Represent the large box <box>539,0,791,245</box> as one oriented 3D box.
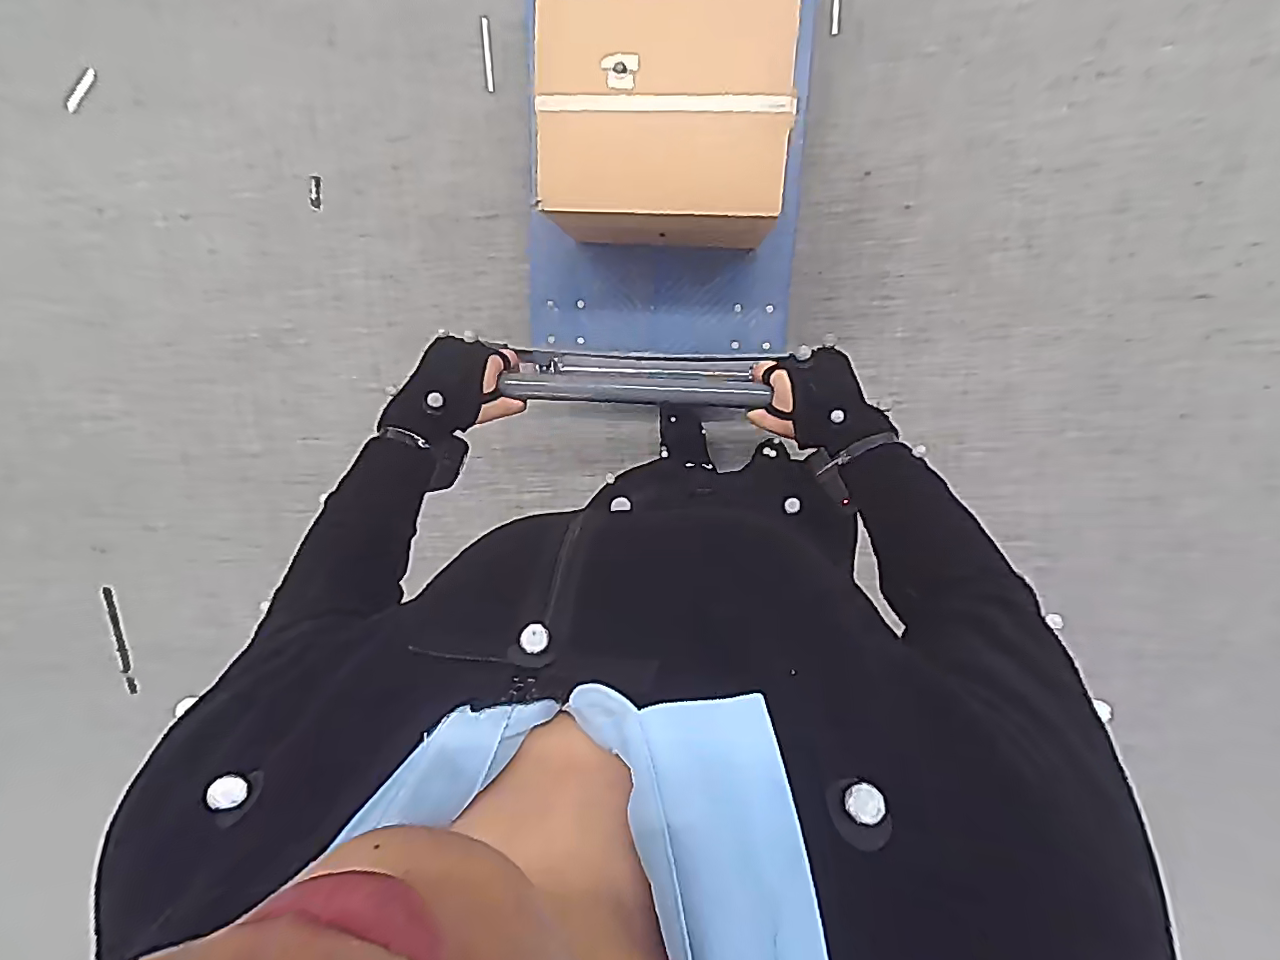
[{"bbox_3d":[0.049,-0.631,1.020,0.408,0.320,0.320,3,104,5],"label":"large box"}]
